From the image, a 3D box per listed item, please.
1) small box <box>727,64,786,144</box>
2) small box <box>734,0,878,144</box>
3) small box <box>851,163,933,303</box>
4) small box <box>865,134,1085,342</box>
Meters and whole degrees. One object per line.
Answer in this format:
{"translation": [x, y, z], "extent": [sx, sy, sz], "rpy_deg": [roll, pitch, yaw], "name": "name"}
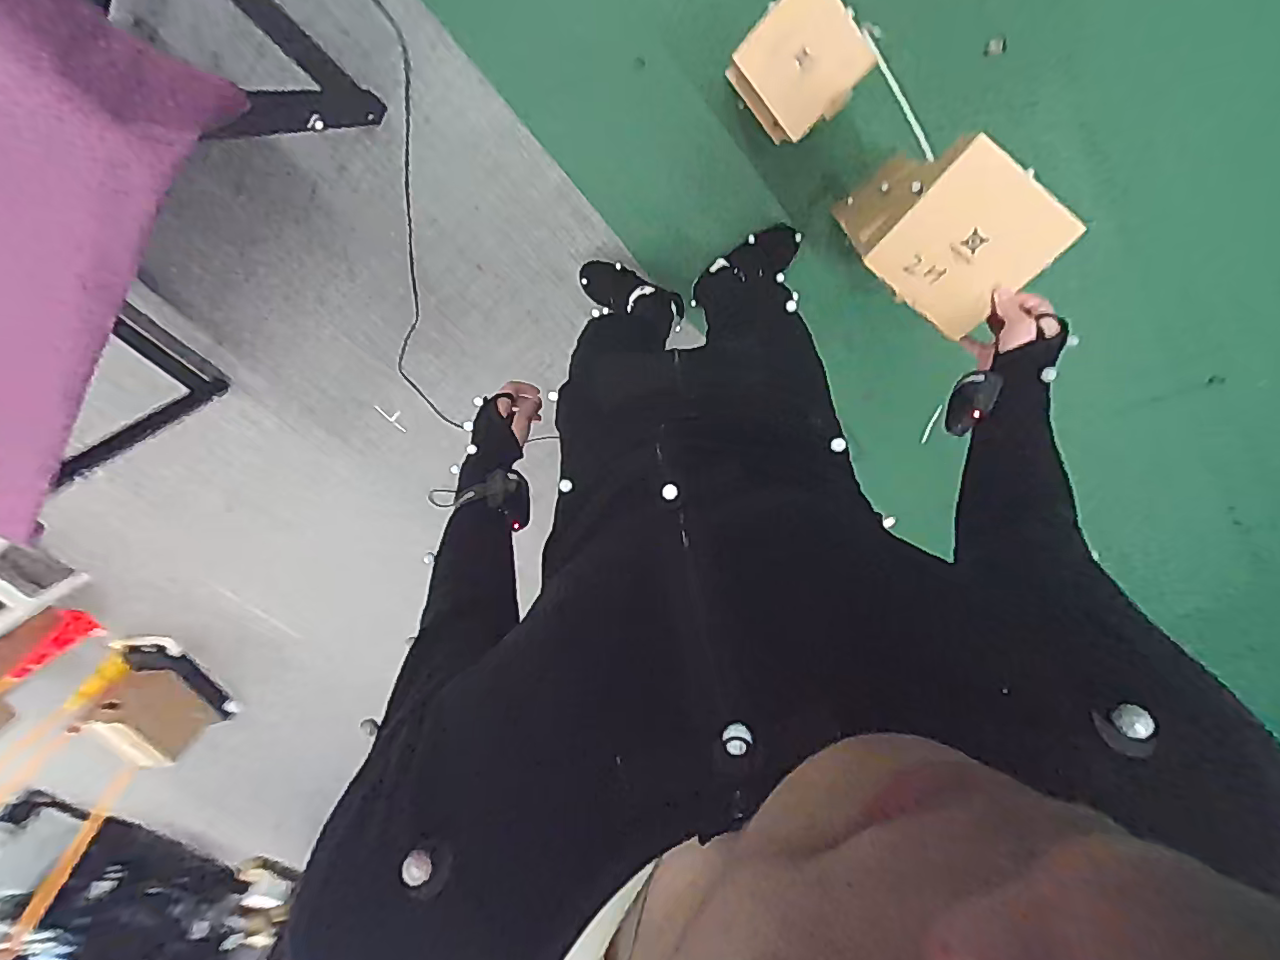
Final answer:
{"translation": [0.296, -0.815, 1.089], "extent": [0.179, 0.176, 0.168], "rpy_deg": [-37, 111, 28], "name": "small box"}
{"translation": [0.284, -0.732, 0.950], "extent": [0.168, 0.176, 0.179], "rpy_deg": [-36, 111, 28], "name": "small box"}
{"translation": [0.536, -0.490, 1.070], "extent": [0.179, 0.176, 0.168], "rpy_deg": [-31, 115, 29], "name": "small box"}
{"translation": [0.420, -0.321, 0.717], "extent": [0.168, 0.176, 0.179], "rpy_deg": [40, 127, -4], "name": "small box"}
